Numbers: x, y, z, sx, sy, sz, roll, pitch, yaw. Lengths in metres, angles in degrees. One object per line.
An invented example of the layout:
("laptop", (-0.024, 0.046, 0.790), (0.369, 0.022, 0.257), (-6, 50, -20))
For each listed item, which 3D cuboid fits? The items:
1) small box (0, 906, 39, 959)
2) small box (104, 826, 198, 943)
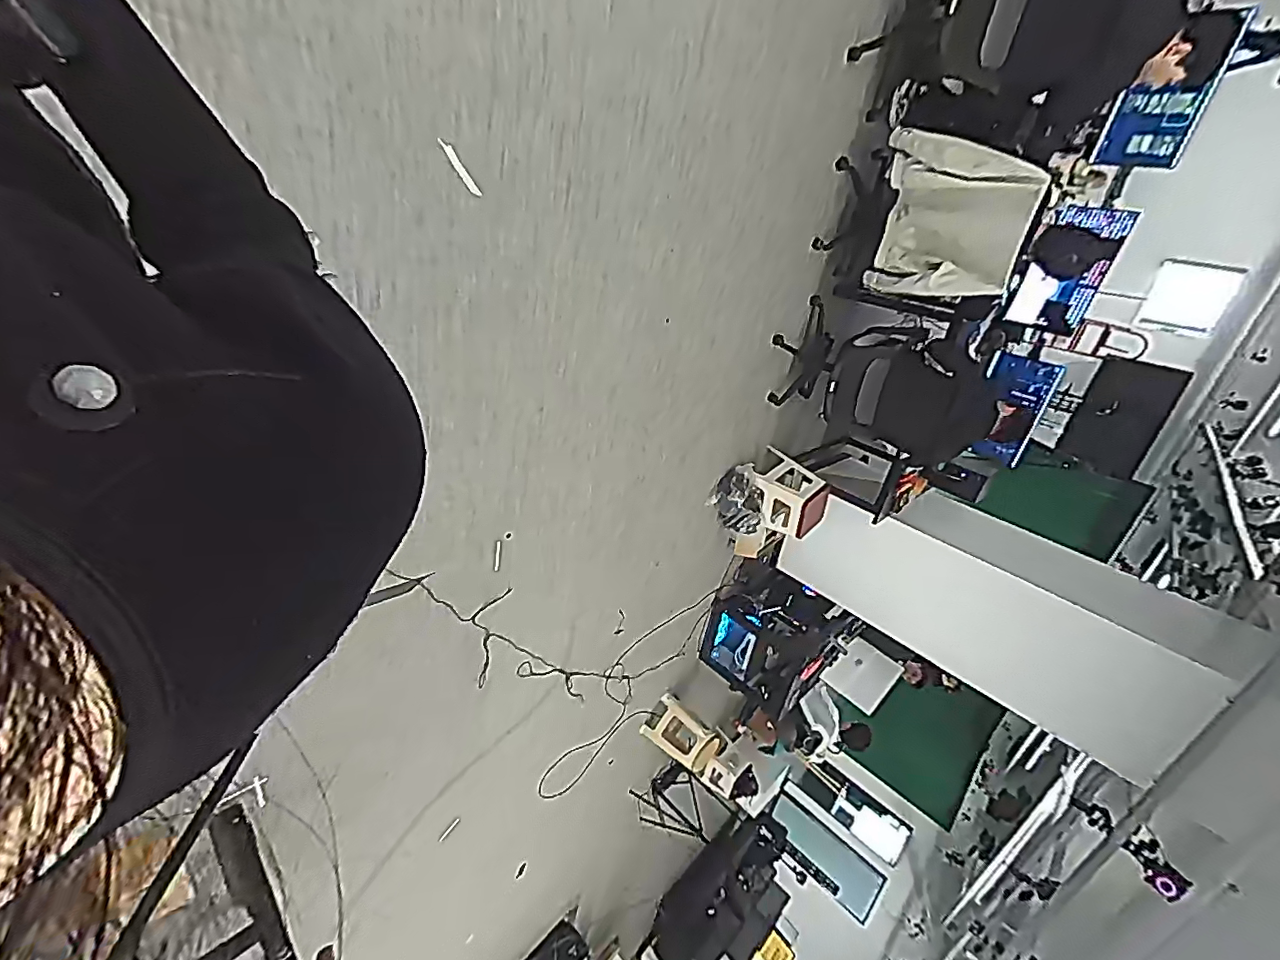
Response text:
("small box", (-1.609, 1.204, 1.318), (0.168, 0.176, 0.179), (-18, 127, -44))
("small box", (-1.395, 1.145, 1.544), (0.168, 0.176, 0.179), (-16, 127, -45))
